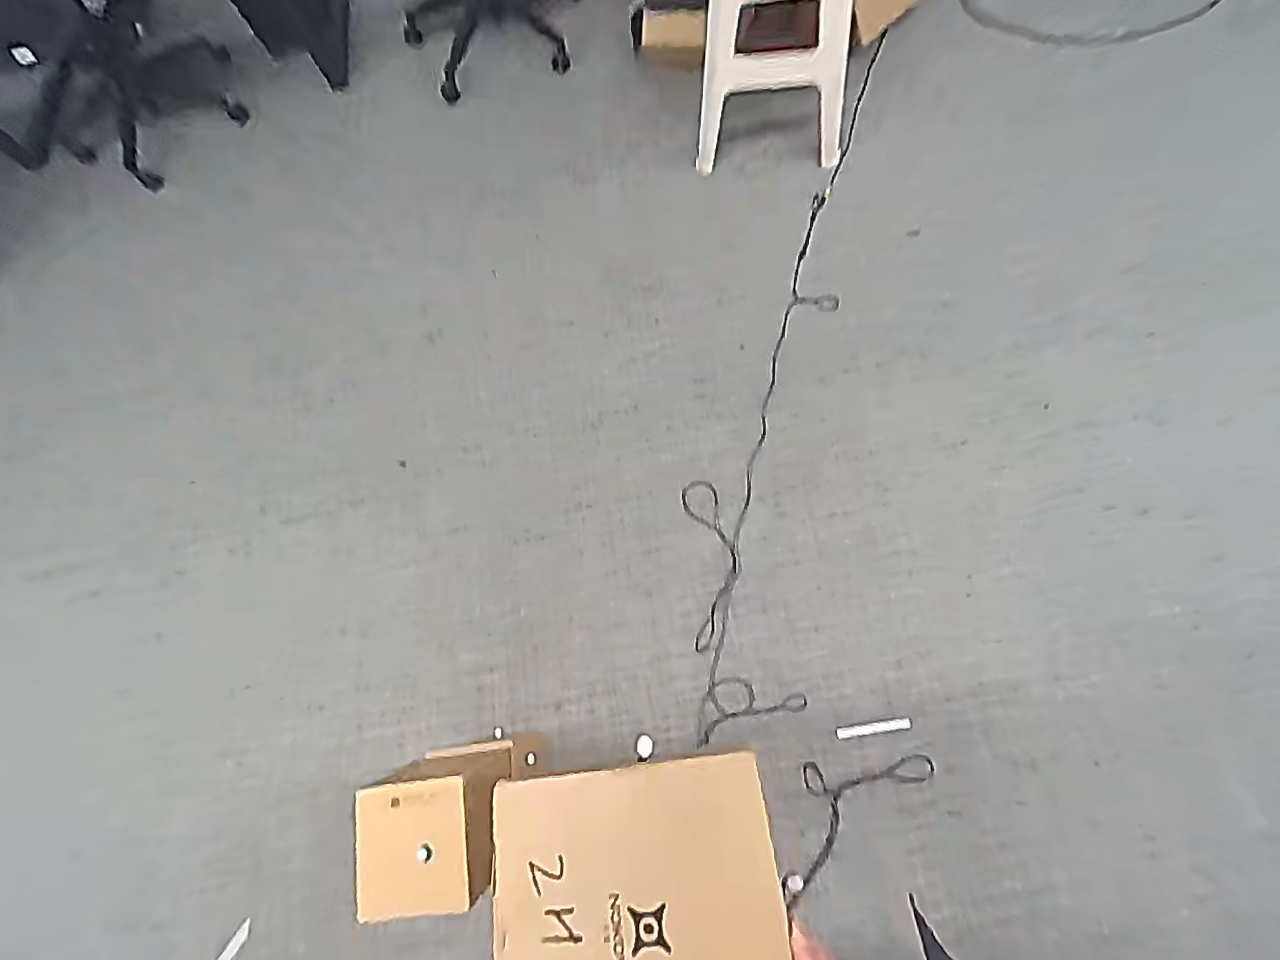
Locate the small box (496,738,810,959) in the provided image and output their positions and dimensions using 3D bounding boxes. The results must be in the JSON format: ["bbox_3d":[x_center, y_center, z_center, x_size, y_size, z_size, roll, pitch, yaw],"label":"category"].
[{"bbox_3d":[0.015,0.280,0.376,0.179,0.176,0.168,-10,64,6],"label":"small box"}]
